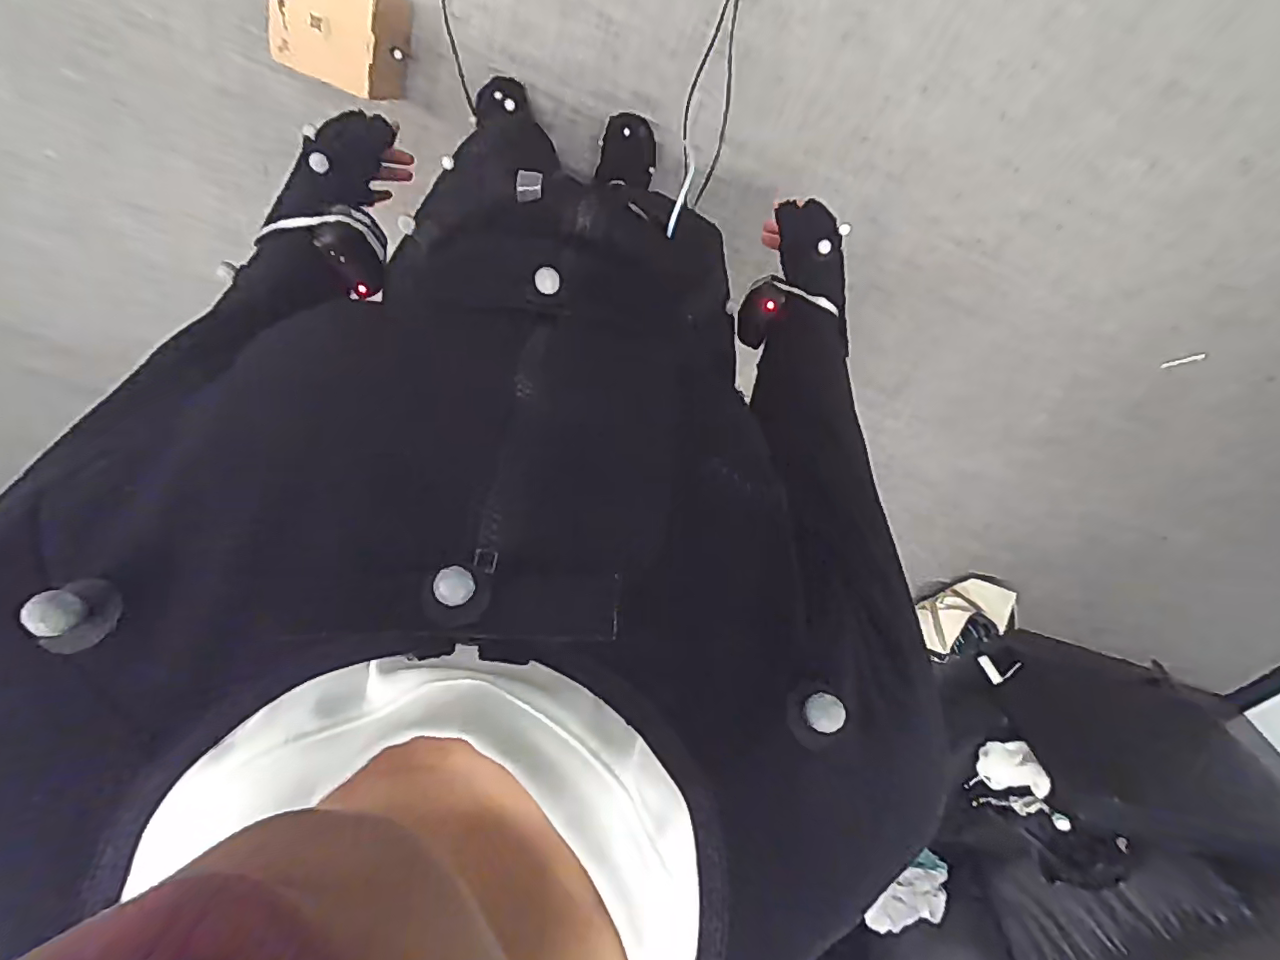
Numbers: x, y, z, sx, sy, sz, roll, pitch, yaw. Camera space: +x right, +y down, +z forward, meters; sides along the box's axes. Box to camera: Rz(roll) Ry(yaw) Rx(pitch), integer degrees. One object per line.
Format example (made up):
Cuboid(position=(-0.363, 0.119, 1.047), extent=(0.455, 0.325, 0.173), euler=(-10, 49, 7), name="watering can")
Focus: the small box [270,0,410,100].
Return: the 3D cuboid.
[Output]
Cuboid(position=(-0.547, -0.837, 1.000), extent=(0.179, 0.176, 0.168), euler=(19, 125, -11), name="small box")
